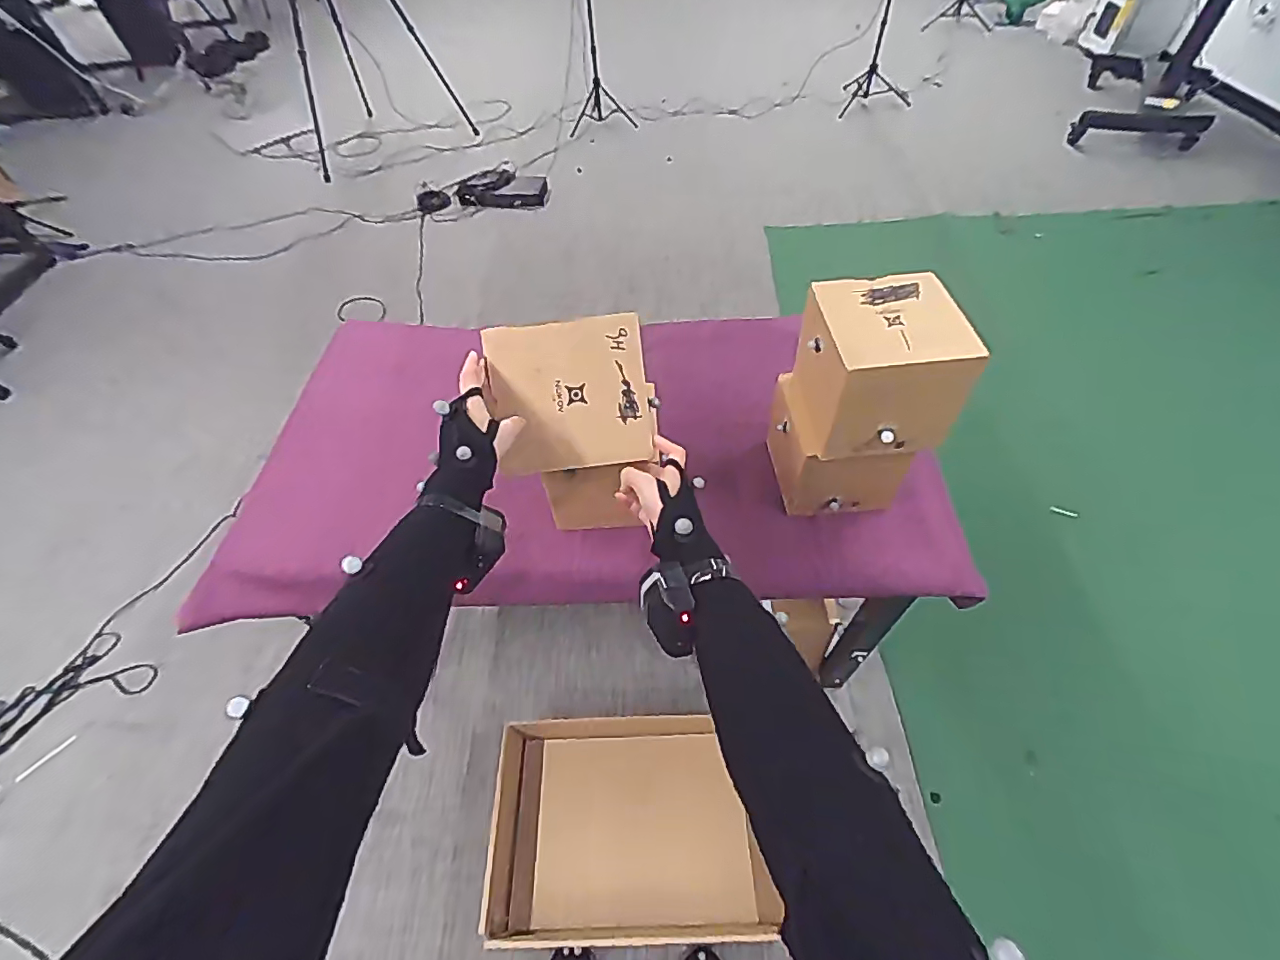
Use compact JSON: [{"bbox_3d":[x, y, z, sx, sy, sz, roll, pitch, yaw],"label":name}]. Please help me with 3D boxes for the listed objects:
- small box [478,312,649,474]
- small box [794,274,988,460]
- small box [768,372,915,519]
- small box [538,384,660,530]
[{"bbox_3d":[-0.084,-0.097,0.671,0.179,0.176,0.168,-7,93,-1],"label":"small box"},{"bbox_3d":[0.315,-0.150,0.727,0.168,0.176,0.179,-5,52,2],"label":"small box"},{"bbox_3d":[0.308,-0.058,0.864,0.168,0.176,0.179,-5,52,2],"label":"small box"},{"bbox_3d":[-0.058,-0.033,0.871,0.179,0.176,0.168,-4,52,2],"label":"small box"}]
